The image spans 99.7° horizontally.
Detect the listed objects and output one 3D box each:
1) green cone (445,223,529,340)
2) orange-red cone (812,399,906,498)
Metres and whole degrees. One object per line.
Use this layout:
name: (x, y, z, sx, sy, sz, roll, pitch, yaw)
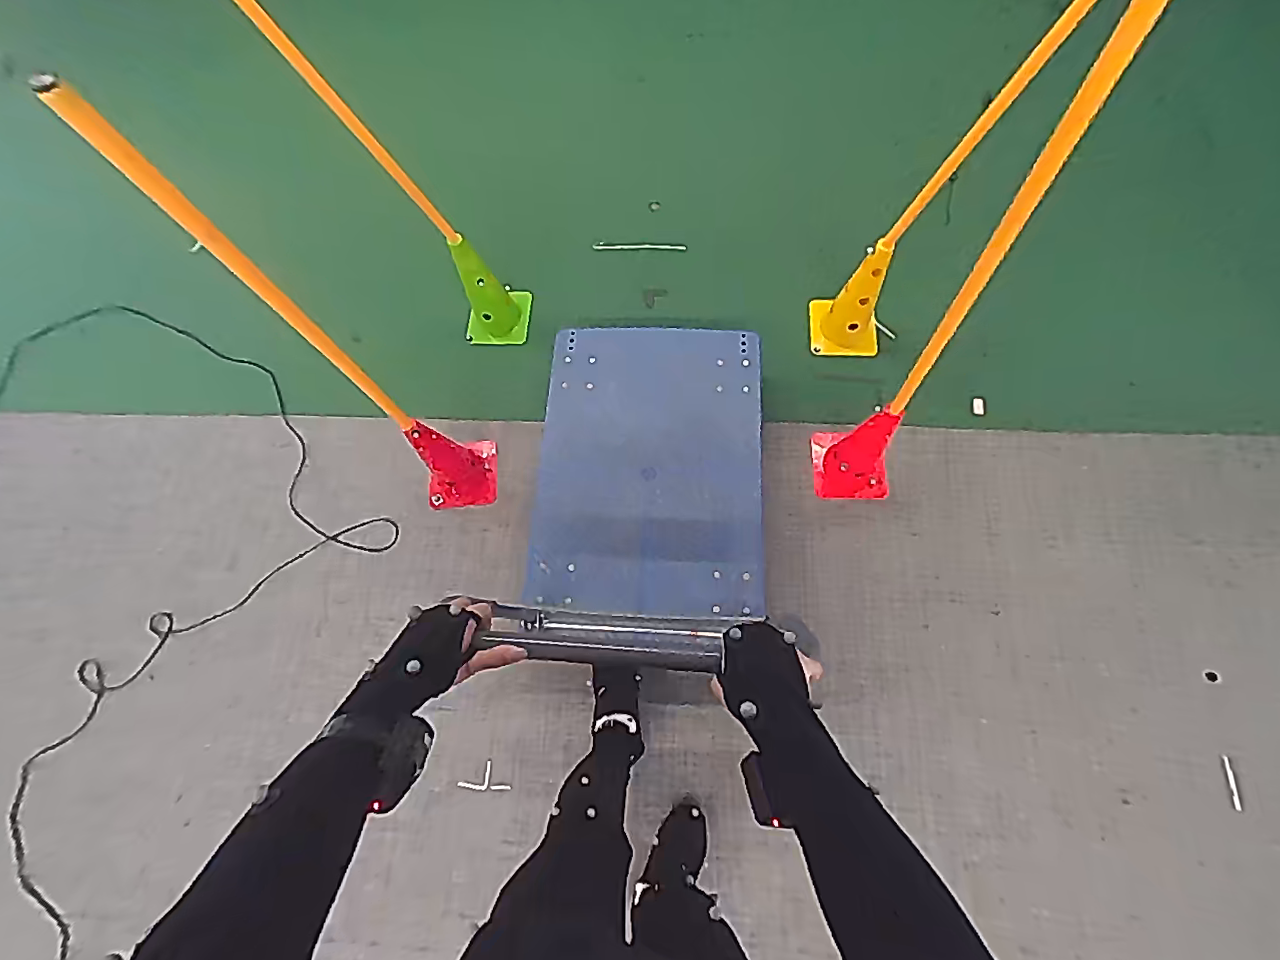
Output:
green cone: (-0.480, -0.598, 1.594, 0.200, 0.368, 0.202, 1, 70, 5)
orange-red cone: (0.577, -0.106, 1.357, 0.198, 0.360, 0.199, 2, 70, 4)
